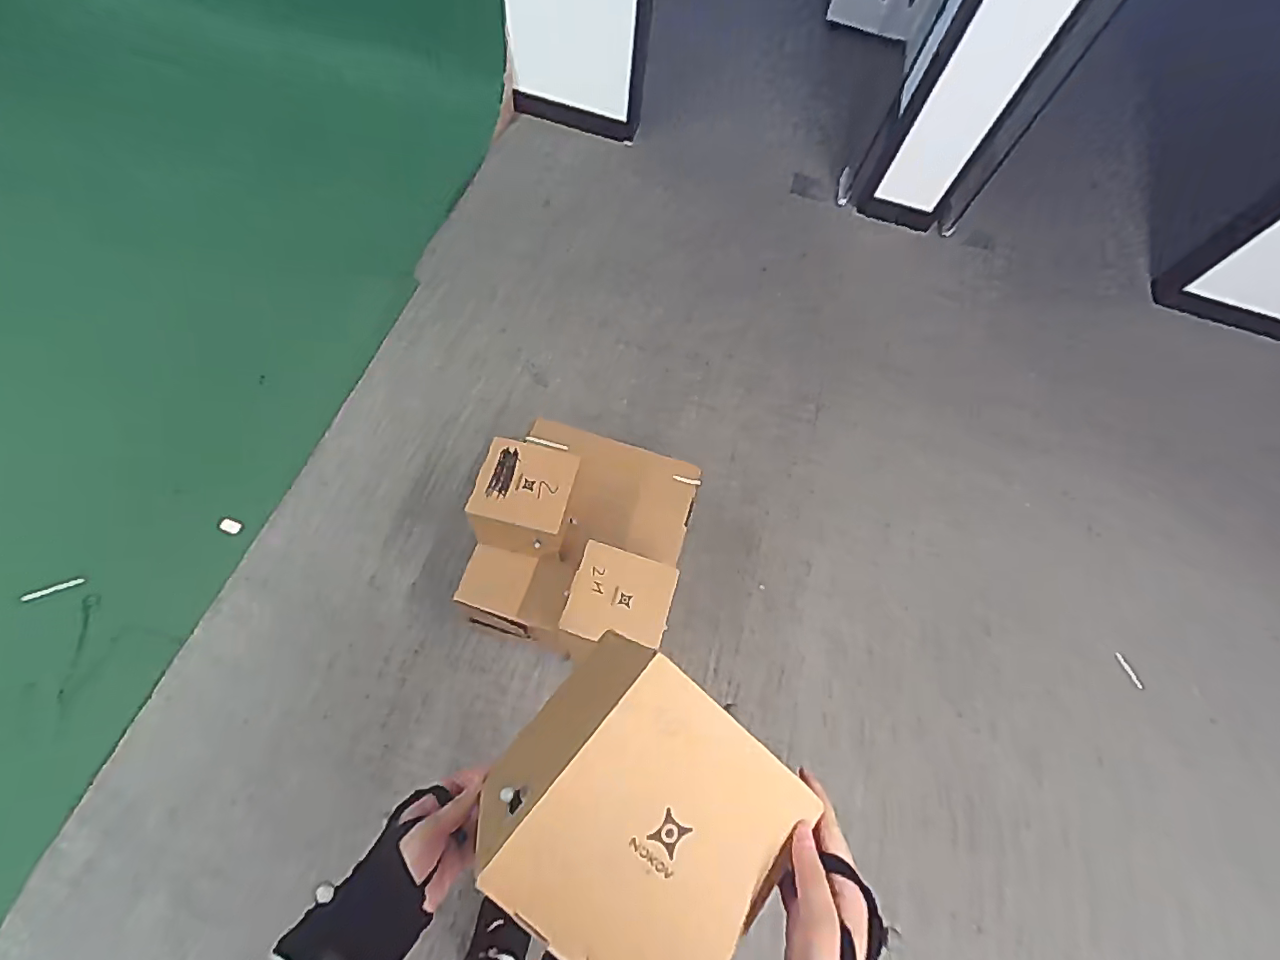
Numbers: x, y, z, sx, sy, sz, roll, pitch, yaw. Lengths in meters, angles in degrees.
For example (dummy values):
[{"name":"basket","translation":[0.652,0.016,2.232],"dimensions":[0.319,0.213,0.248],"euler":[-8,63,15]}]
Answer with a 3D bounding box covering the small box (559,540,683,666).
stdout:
[{"name":"small box","translation":[-0.038,0.235,0.998],"dimensions":[0.179,0.176,0.168],"euler":[19,64,1]}]
